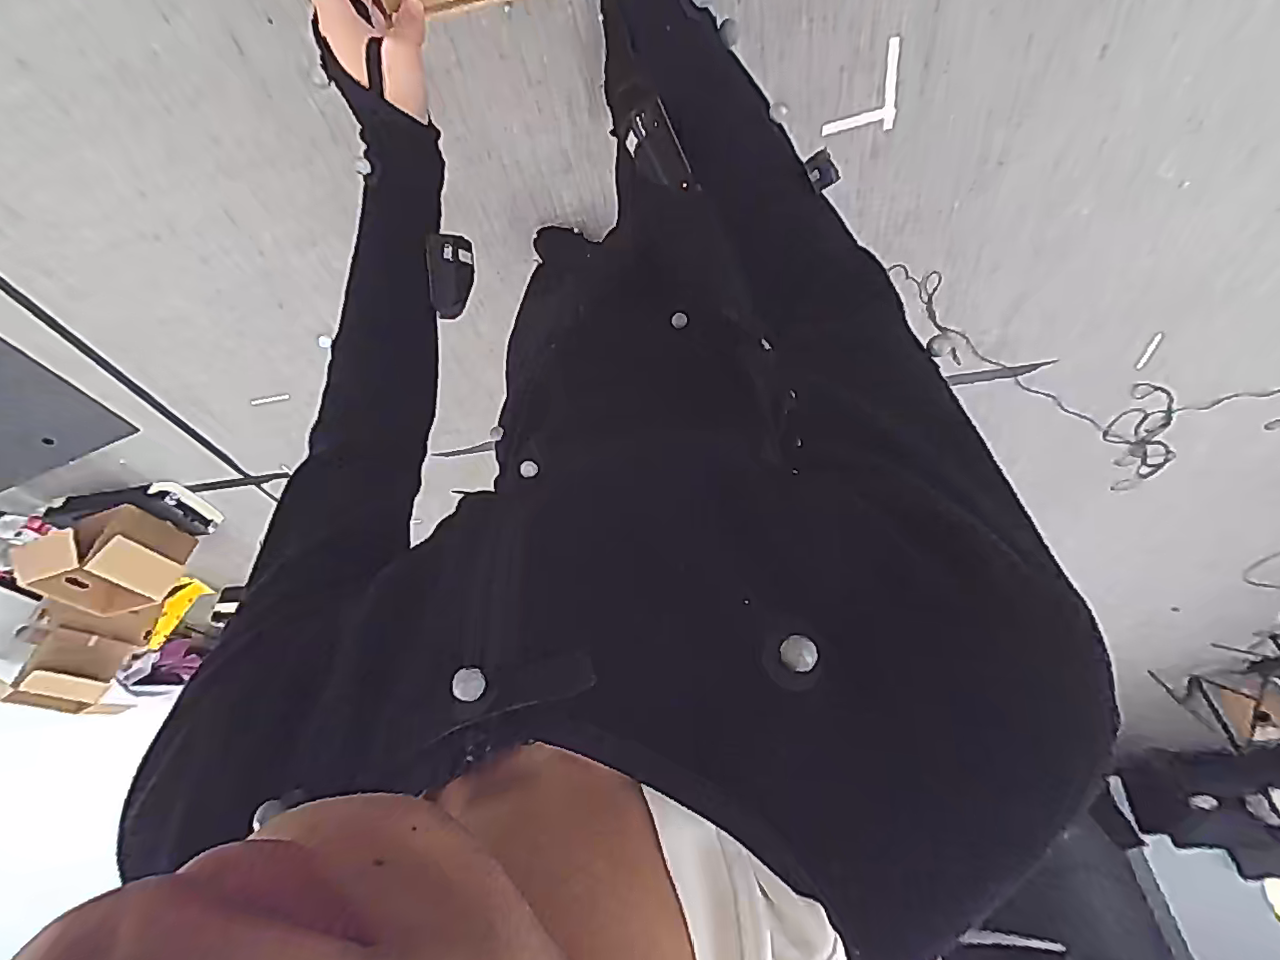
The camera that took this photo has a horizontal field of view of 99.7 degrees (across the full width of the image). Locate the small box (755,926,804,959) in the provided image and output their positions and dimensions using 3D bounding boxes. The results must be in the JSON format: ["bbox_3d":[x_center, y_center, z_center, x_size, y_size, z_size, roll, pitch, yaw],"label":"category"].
[{"bbox_3d":[0.512,1.741,1.971,0.168,0.176,0.179,-7,142,9],"label":"small box"}]
